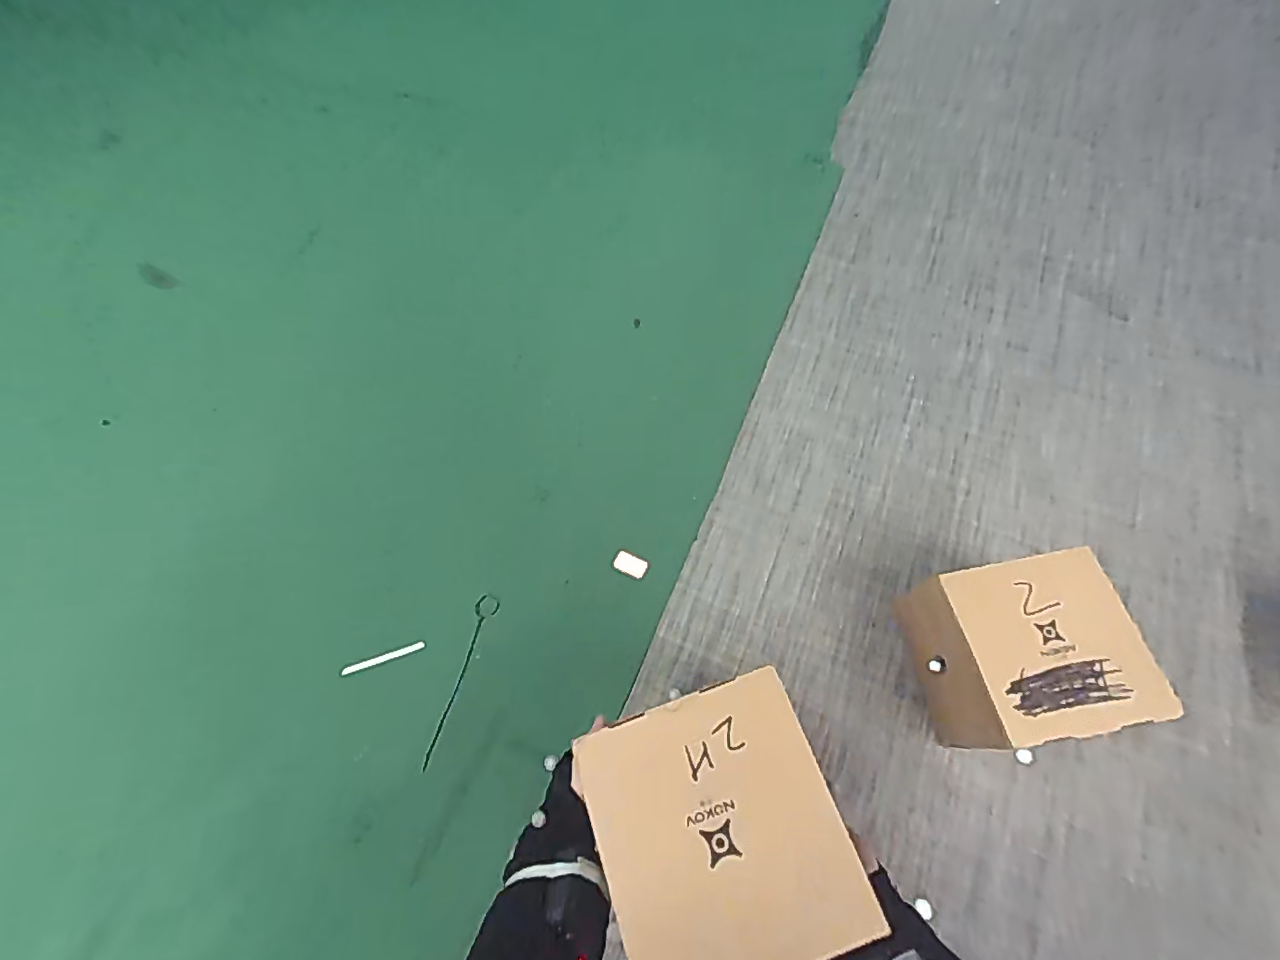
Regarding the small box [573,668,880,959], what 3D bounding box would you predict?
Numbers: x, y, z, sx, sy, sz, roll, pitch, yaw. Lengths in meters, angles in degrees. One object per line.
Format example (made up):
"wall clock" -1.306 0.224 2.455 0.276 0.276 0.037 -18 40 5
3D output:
"small box" 0.060 0.275 0.446 0.168 0.176 0.179 -20 64 -4
